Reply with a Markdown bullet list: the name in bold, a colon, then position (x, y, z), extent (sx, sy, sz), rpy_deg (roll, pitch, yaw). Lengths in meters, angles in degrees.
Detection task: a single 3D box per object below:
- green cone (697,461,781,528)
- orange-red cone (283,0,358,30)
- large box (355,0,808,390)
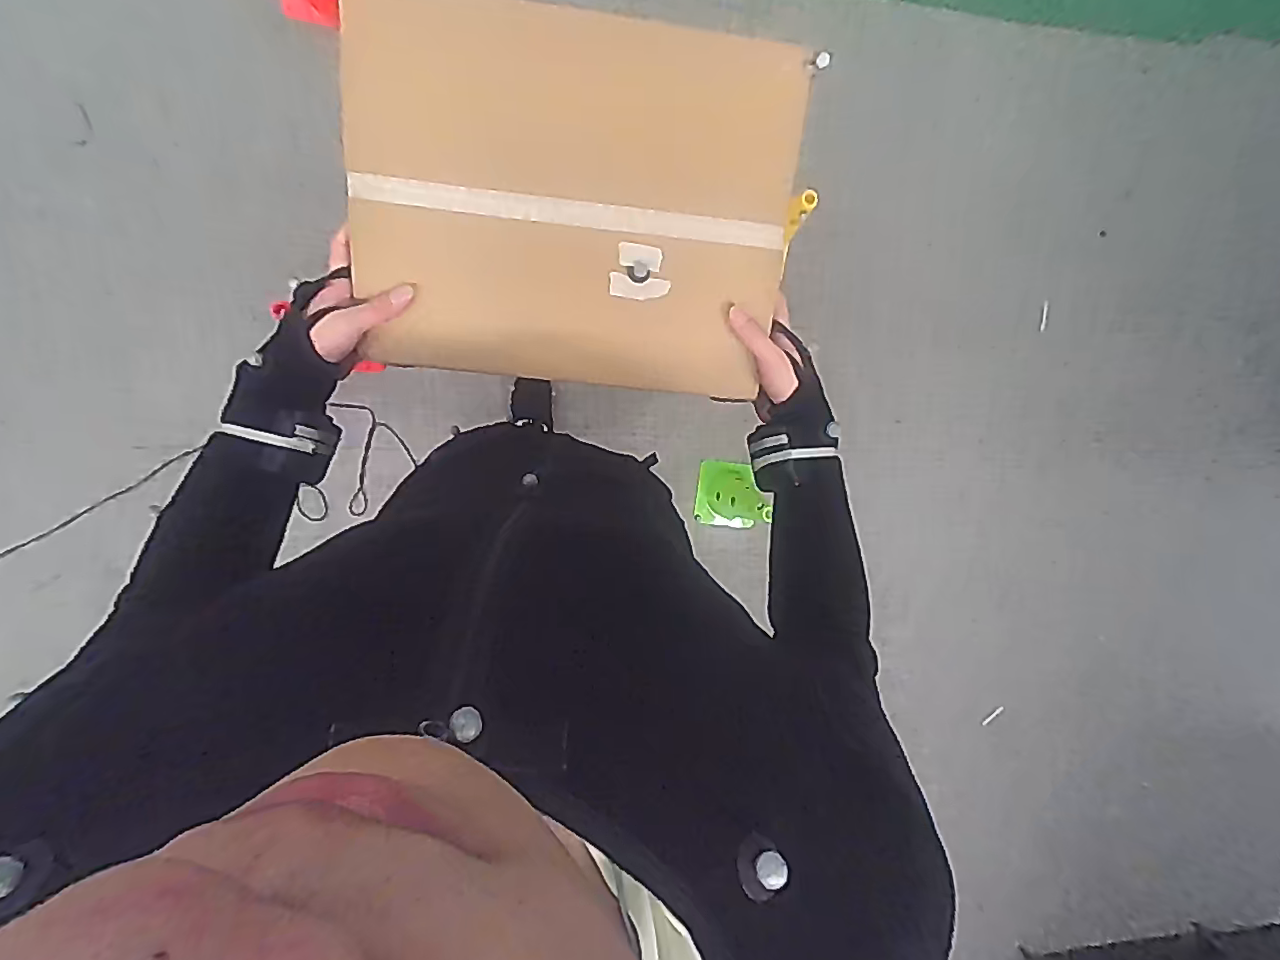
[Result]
- **green cone**: position (0.310, 0.062, 1.529), extent (0.200, 0.368, 0.202), rpy_deg (6, 95, -10)
- **orange-red cone**: position (-0.767, -1.241, 1.197), extent (0.199, 0.360, 0.198), rpy_deg (8, 95, -8)
- **large box**: position (-0.068, -0.297, 0.656), extent (0.408, 0.320, 0.320), rpy_deg (4, 108, -6)
